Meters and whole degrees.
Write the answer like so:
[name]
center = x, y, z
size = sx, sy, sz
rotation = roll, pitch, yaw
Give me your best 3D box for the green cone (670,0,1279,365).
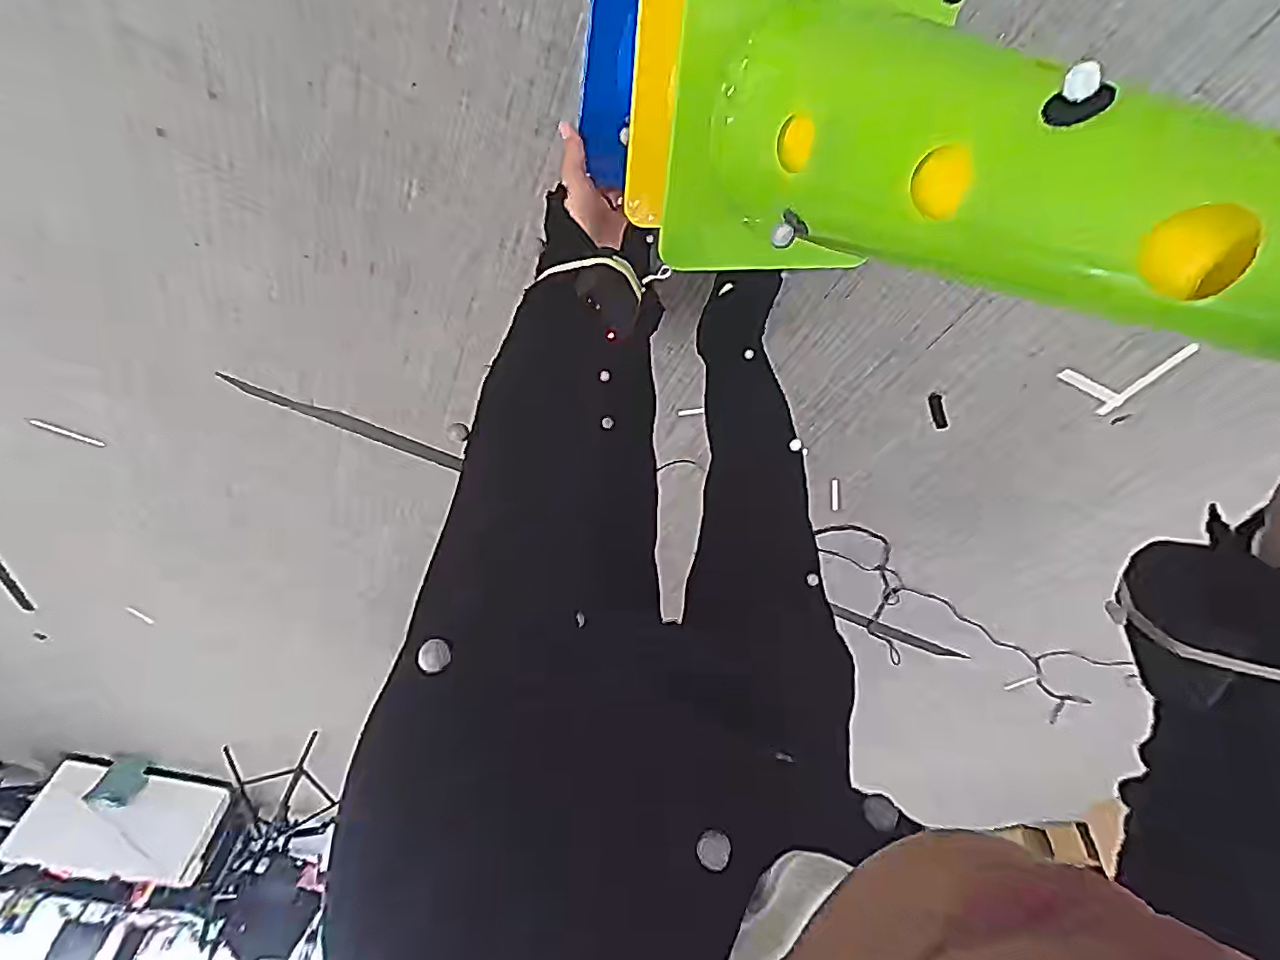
[green cone]
center = 0.174, -0.145, 0.255
size = 0.200, 0.368, 0.202
rotation = -8, 132, -16
